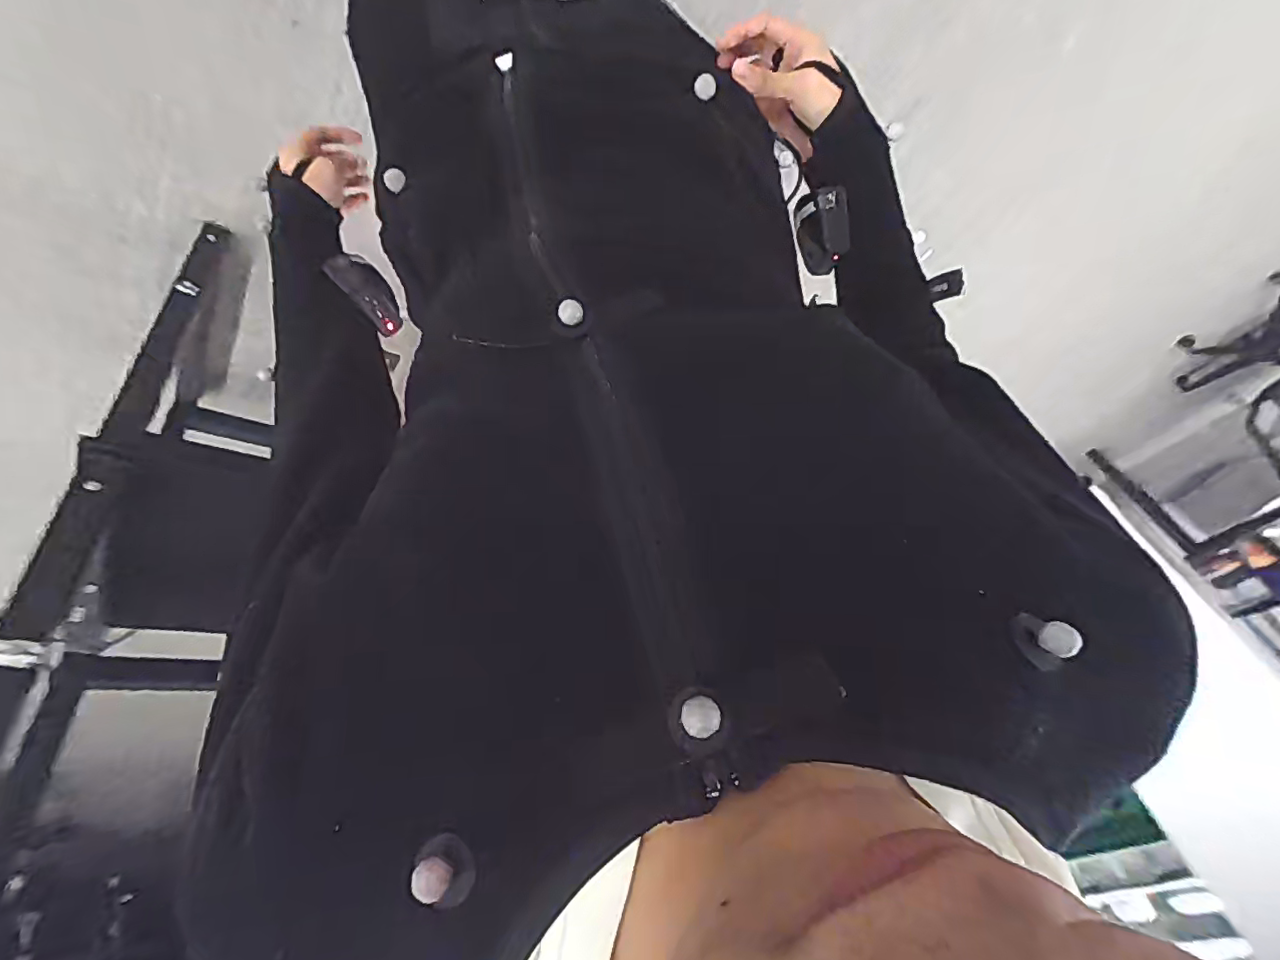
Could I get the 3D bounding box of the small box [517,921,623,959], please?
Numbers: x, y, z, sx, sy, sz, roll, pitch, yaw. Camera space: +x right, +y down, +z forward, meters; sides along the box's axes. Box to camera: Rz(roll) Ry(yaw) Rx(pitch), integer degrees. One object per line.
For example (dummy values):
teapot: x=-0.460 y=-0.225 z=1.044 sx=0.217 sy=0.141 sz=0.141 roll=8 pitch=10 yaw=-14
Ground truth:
small box: x=-0.144 y=1.058 z=1.130 sx=0.179 sy=0.176 sz=0.168 roll=15 pitch=133 yaw=-34
